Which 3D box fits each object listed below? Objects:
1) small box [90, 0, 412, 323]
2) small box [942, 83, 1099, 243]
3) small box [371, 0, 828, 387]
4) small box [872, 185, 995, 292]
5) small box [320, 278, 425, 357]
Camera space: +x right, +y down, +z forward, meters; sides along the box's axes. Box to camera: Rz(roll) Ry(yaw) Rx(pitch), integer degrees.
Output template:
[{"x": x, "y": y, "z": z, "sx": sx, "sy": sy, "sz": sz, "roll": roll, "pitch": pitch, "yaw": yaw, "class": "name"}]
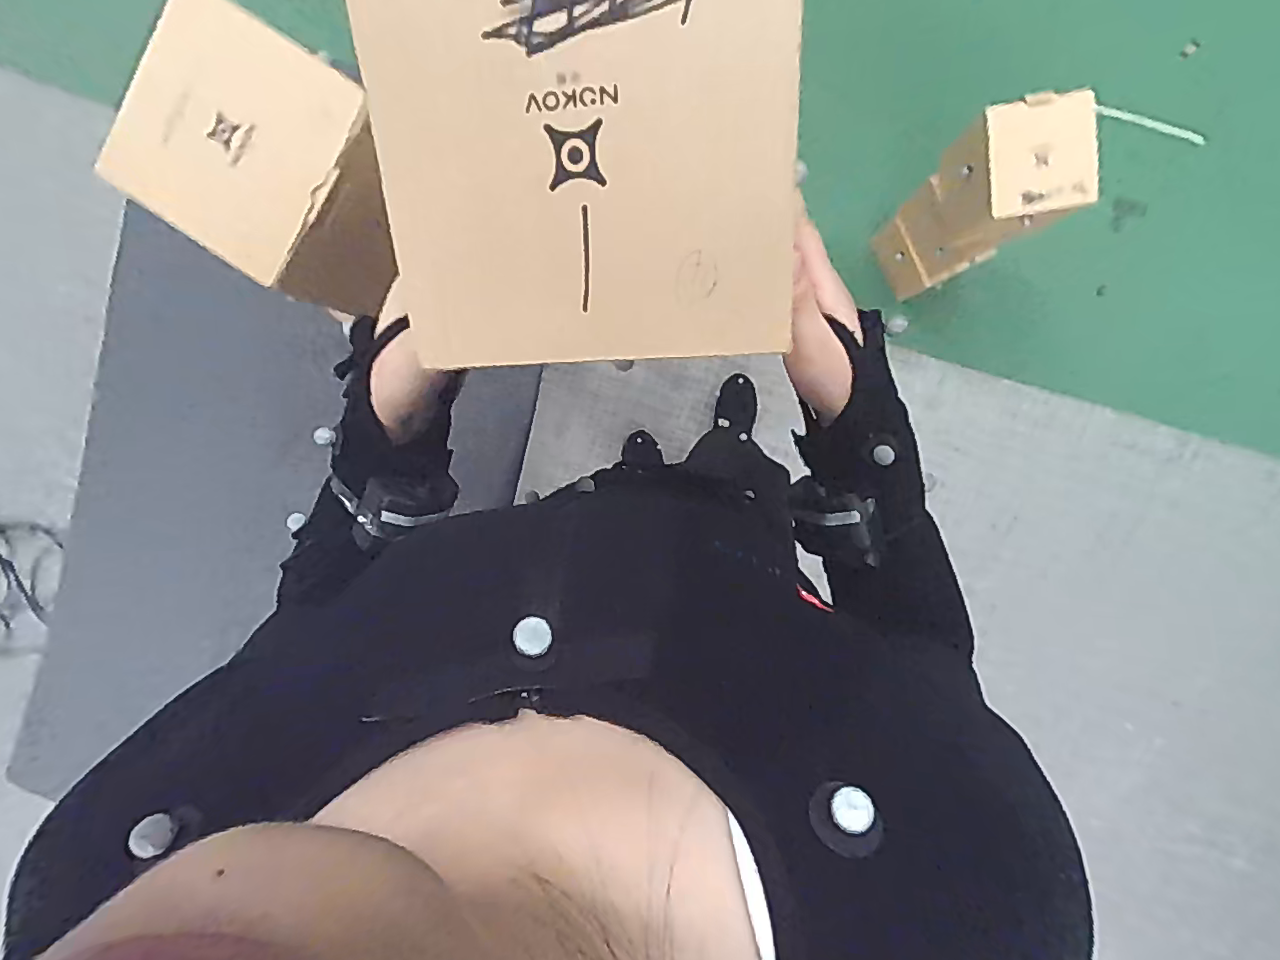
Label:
[{"x": -0.300, "y": -0.258, "z": 0.481, "sx": 0.179, "sy": 0.176, "sz": 0.168, "roll": 33, "pitch": 97, "yaw": 3, "class": "small box"}, {"x": 0.651, "y": -0.541, "z": 0.944, "sx": 0.168, "sy": 0.176, "sz": 0.179, "roll": -7, "pitch": 97, "yaw": 6, "class": "small box"}, {"x": -0.006, "y": -0.149, "z": 0.281, "sx": 0.168, "sy": 0.176, "sz": 0.179, "roll": 0, "pitch": 109, "yaw": 8, "class": "small box"}, {"x": 0.680, "y": -0.563, "z": 1.272, "sx": 0.168, "sy": 0.176, "sz": 0.179, "roll": -27, "pitch": 94, "yaw": 8, "class": "small box"}, {"x": -0.301, "y": -0.263, "z": 0.646, "sx": 0.179, "sy": 0.176, "sz": 0.168, "roll": 38, "pitch": 98, "yaw": 1, "class": "small box"}]
